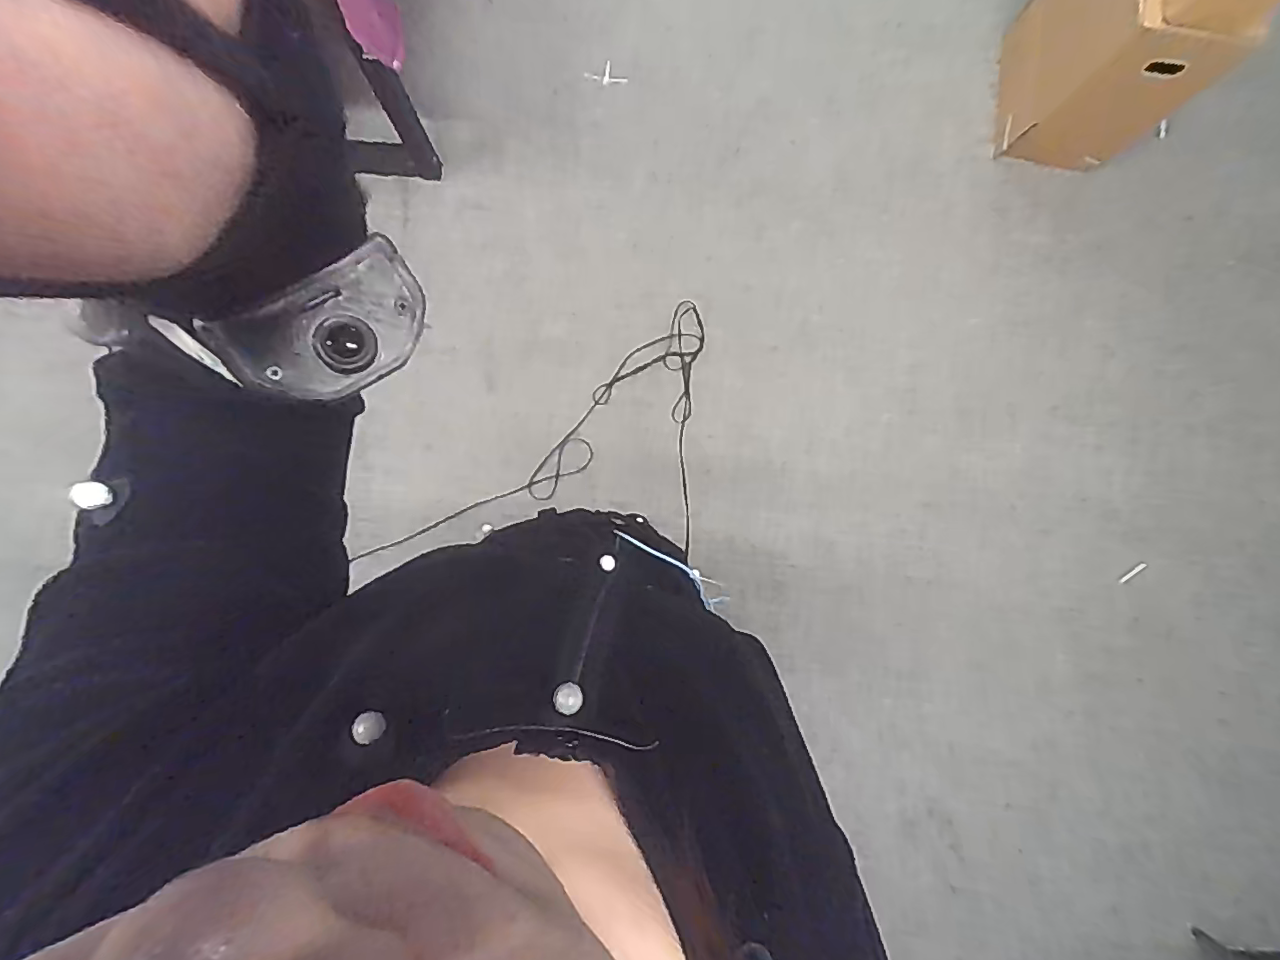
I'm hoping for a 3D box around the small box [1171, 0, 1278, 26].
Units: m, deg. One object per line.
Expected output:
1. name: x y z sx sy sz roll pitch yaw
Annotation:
1. small box: 1.268 -1.092 1.117 0.179 0.176 0.168 6 85 -2
